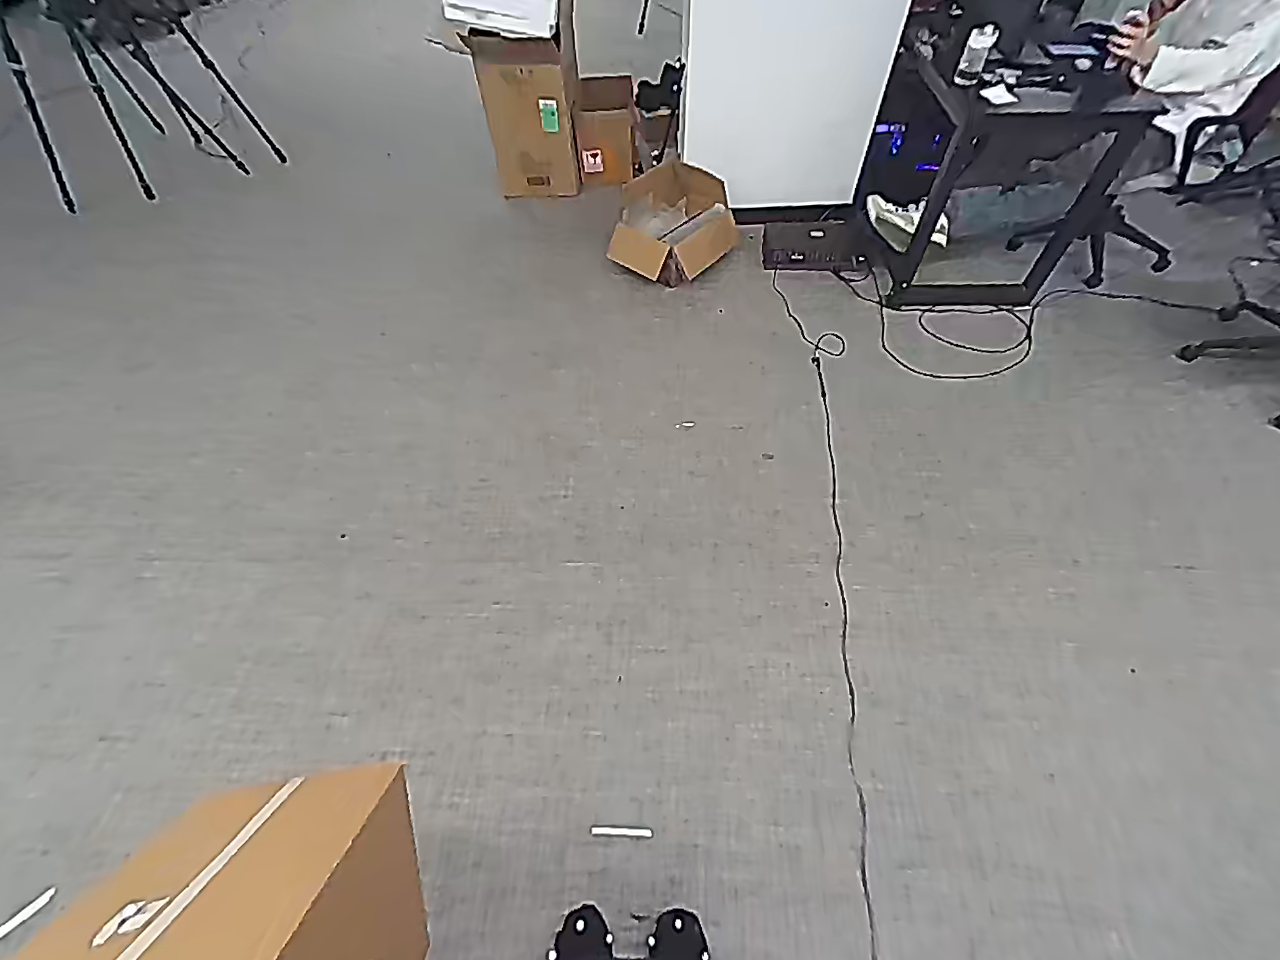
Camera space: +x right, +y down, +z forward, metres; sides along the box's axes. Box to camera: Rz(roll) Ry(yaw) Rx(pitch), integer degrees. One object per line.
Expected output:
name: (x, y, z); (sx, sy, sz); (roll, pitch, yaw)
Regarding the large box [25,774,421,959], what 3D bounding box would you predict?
large box: (-0.506, 0.649, 0.681); (0.320, 0.408, 0.320); (-8, 92, -4)
